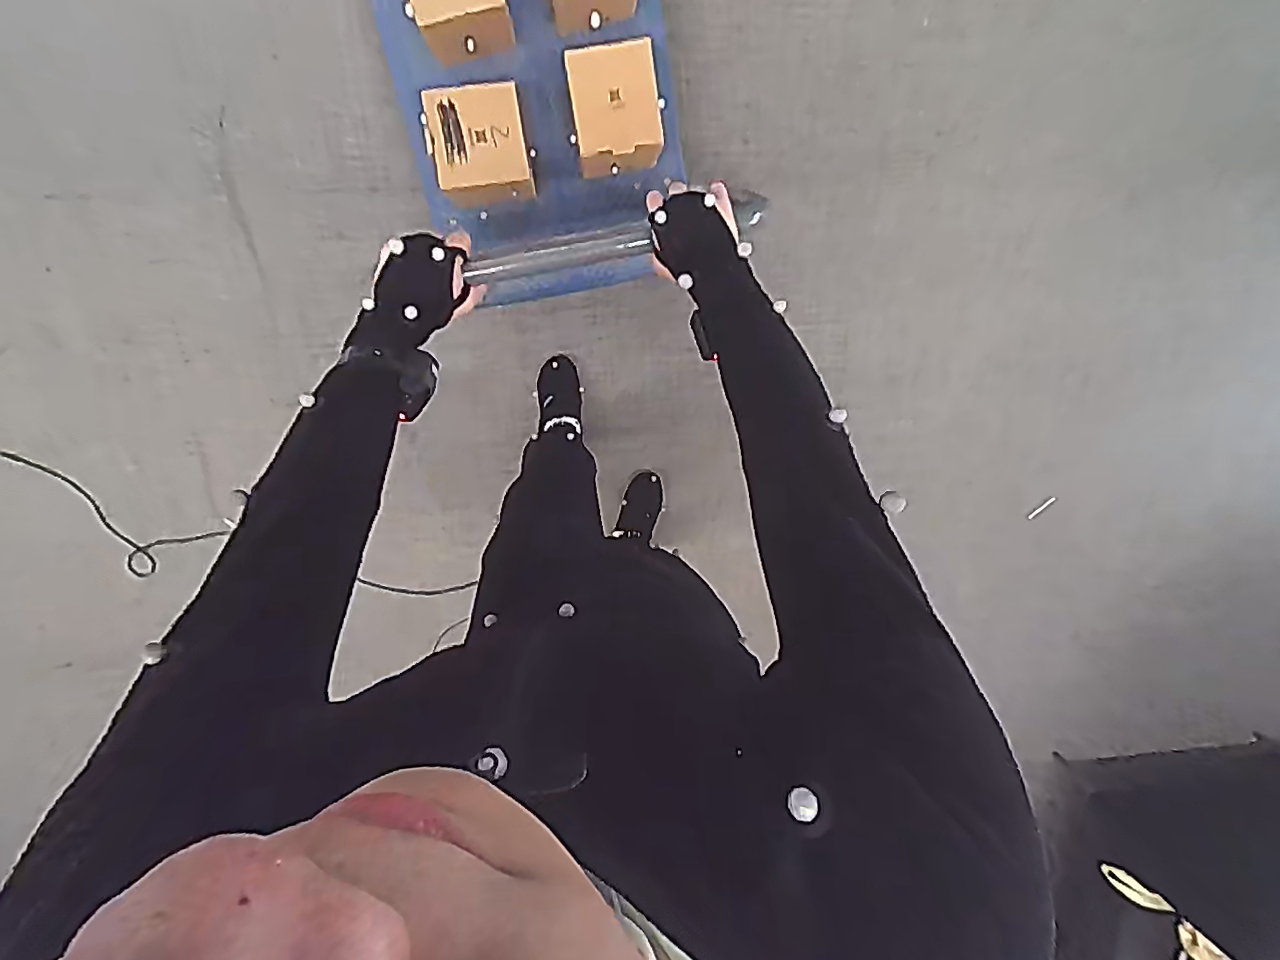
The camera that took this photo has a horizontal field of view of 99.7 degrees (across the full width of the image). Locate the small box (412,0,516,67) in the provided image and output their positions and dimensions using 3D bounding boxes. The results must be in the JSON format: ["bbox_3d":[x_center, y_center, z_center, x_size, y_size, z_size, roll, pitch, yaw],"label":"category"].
[{"bbox_3d":[-0.347,-0.936,1.041,0.168,0.176,0.179,-15,106,-2],"label":"small box"}]

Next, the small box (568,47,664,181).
[{"bbox_3d":[-0.054,-0.748,1.122,0.168,0.176,0.179,-11,107,-2],"label":"small box"}]

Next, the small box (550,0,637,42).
[{"bbox_3d":[-0.104,-1.003,1.044,0.168,0.176,0.179,-14,107,0],"label":"small box"}]
